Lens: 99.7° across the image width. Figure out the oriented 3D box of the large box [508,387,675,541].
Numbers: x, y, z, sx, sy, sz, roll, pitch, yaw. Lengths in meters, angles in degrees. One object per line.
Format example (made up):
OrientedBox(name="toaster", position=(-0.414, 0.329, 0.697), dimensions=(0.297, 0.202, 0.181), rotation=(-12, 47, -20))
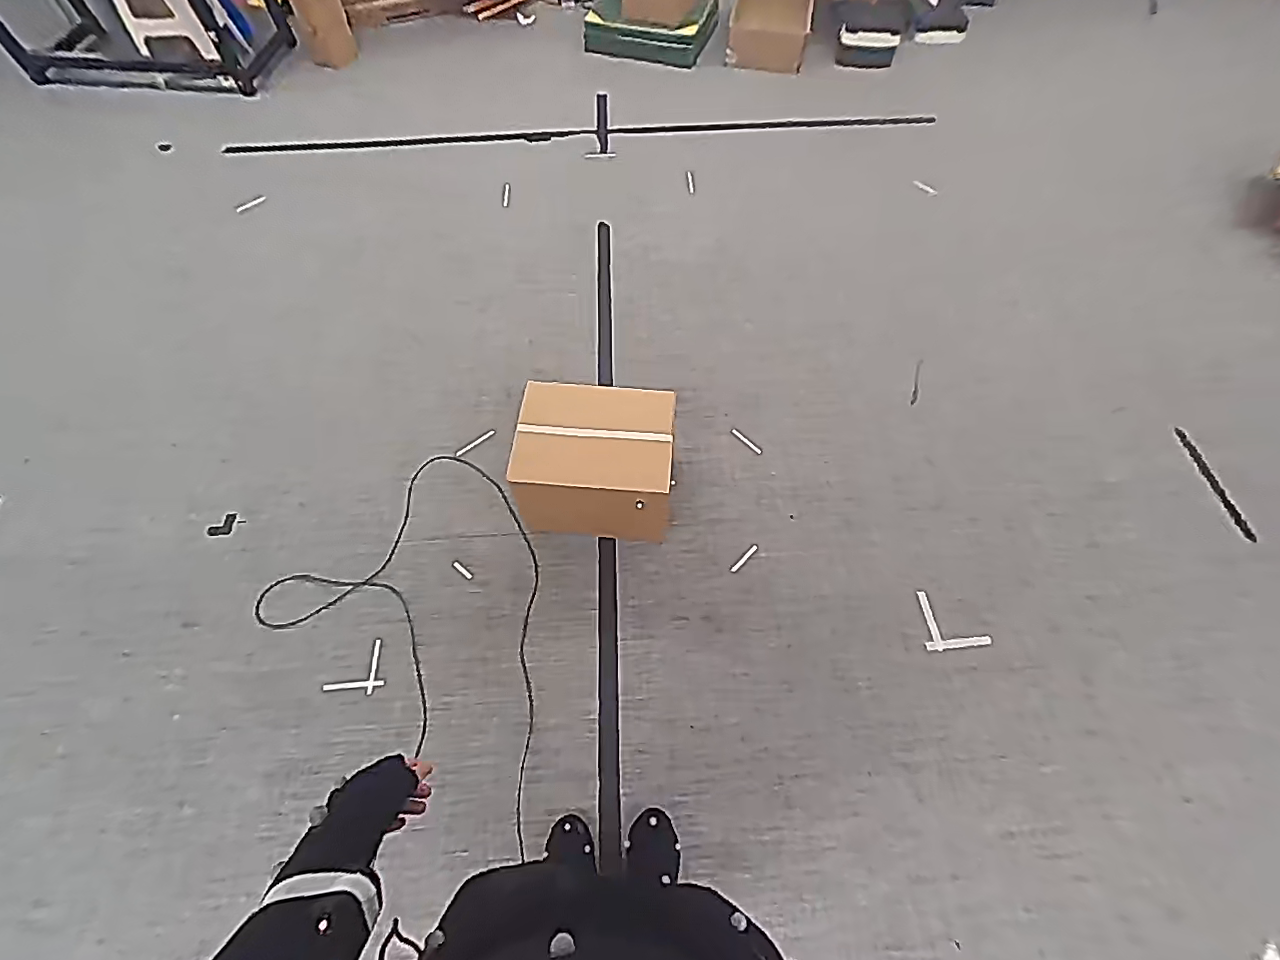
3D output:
OrientedBox(name="large box", position=(-0.114, -0.035, 1.510), dimensions=(0.408, 0.320, 0.320), rotation=(4, 61, 2))
